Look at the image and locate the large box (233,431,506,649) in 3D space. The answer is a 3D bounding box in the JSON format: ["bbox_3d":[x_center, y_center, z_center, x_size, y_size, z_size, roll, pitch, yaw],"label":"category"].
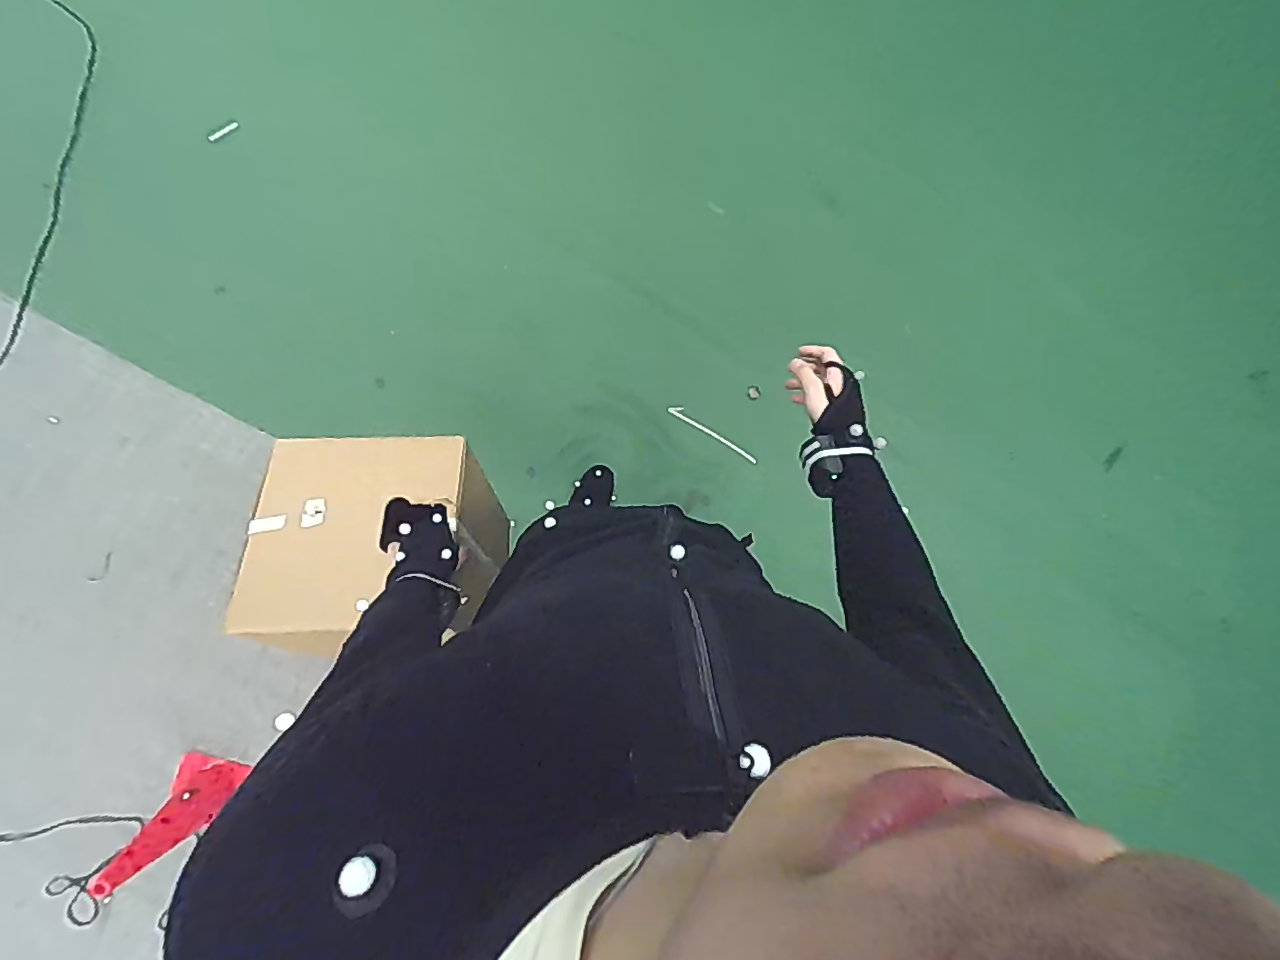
[{"bbox_3d":[-0.449,0.133,1.007,0.320,0.408,0.320,-1,67,-3],"label":"large box"}]
